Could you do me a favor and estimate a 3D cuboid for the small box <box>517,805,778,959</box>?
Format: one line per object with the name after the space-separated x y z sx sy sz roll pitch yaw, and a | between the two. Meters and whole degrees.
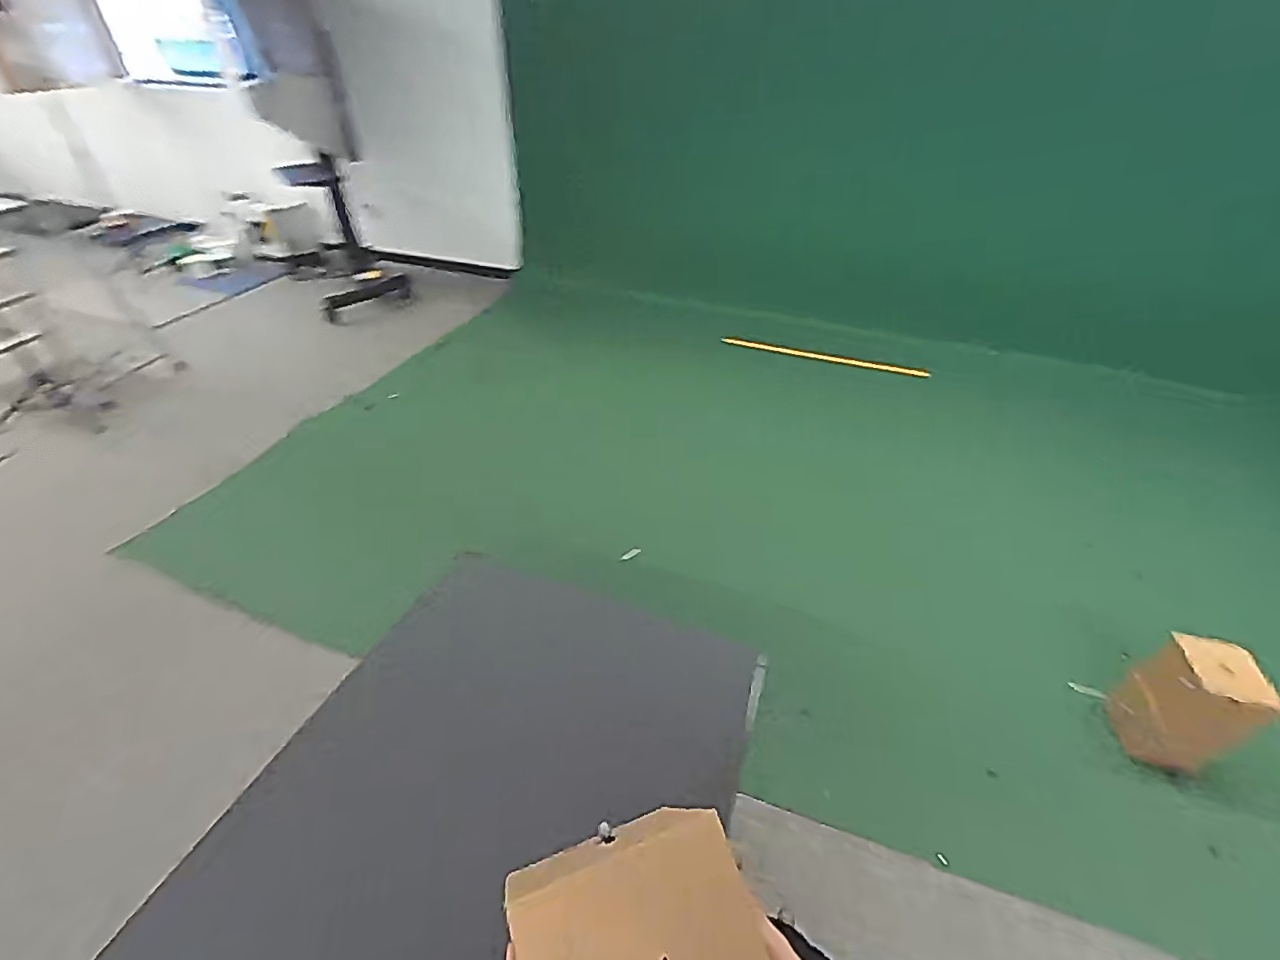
0.001 0.378 0.422 0.168 0.176 0.179 -11 63 -18 | small box

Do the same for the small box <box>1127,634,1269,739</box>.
1.450 0.544 1.424 0.168 0.176 0.179 11 40 10 | small box
